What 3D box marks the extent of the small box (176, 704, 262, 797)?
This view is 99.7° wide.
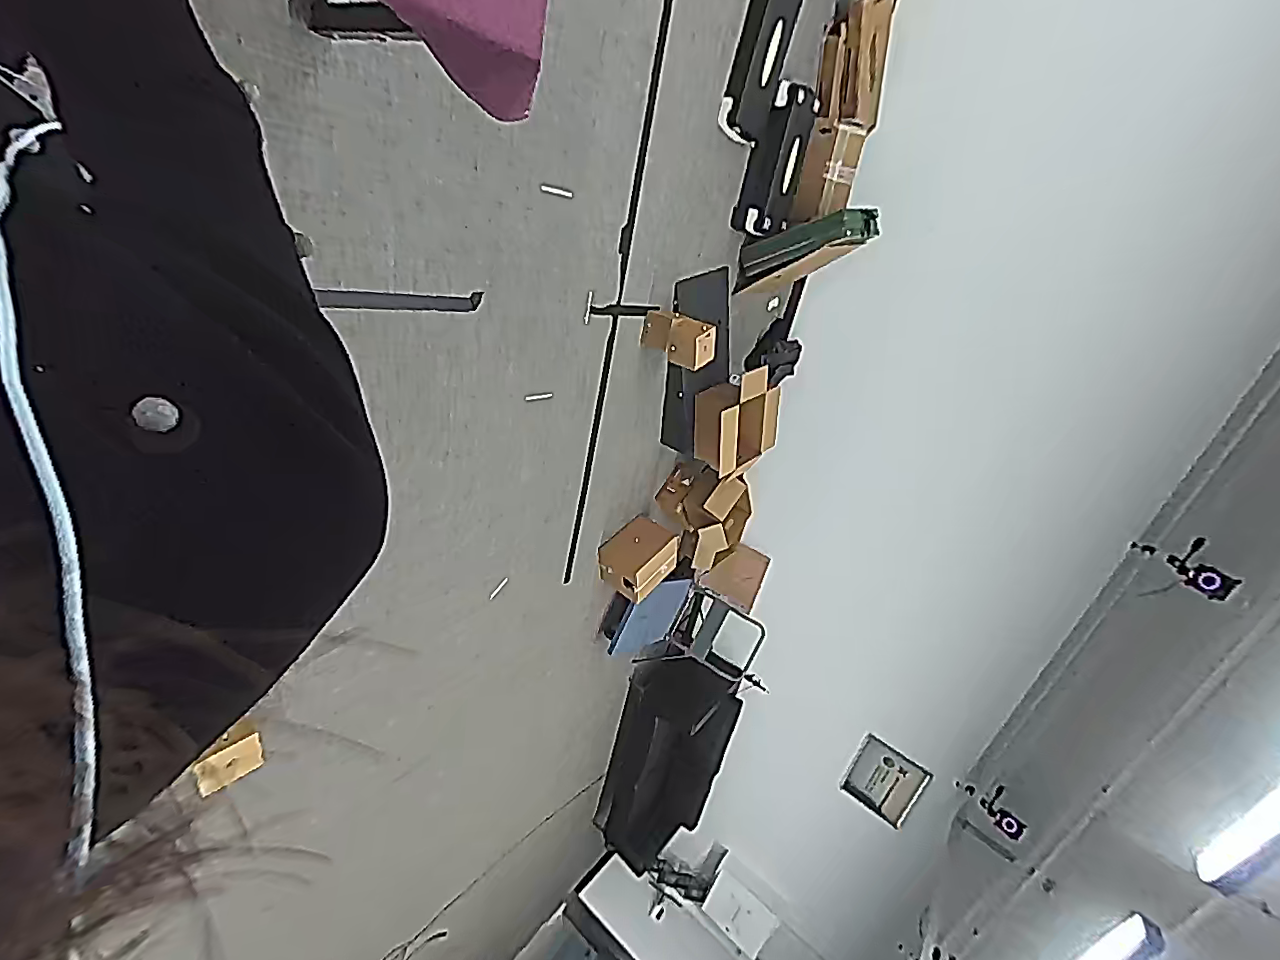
[{"bbox_3d":[-1.388,0.883,1.779,0.179,0.176,0.168,-24,133,-49],"label":"small box"}]
